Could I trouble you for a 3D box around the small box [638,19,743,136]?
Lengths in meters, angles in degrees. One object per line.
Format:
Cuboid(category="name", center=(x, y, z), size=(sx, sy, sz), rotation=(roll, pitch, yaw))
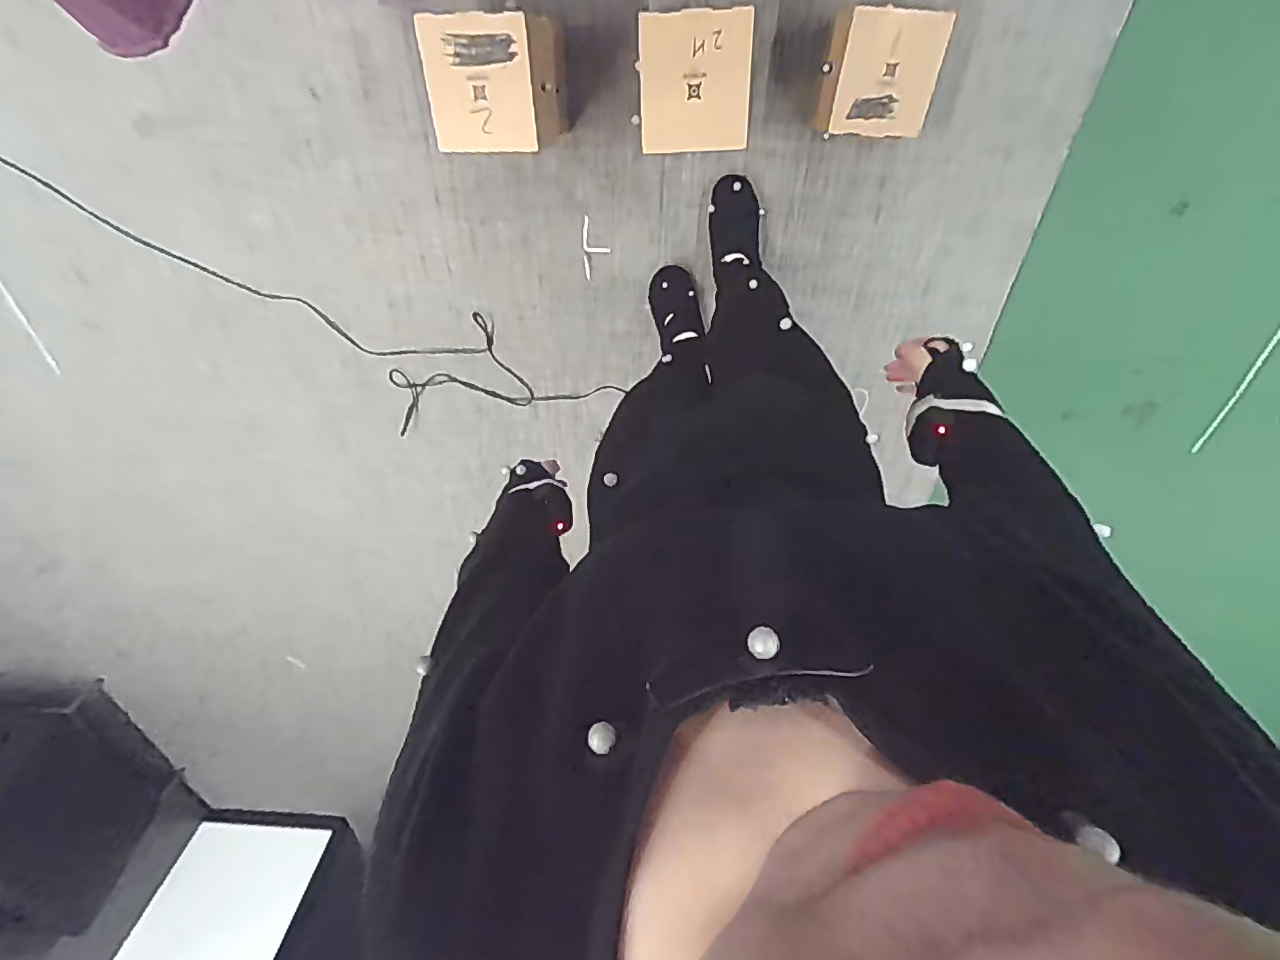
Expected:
Cuboid(category="small box", center=(0.090, -0.743, 1.007), size=(0.179, 0.176, 0.168), rotation=(2, 126, 3))
